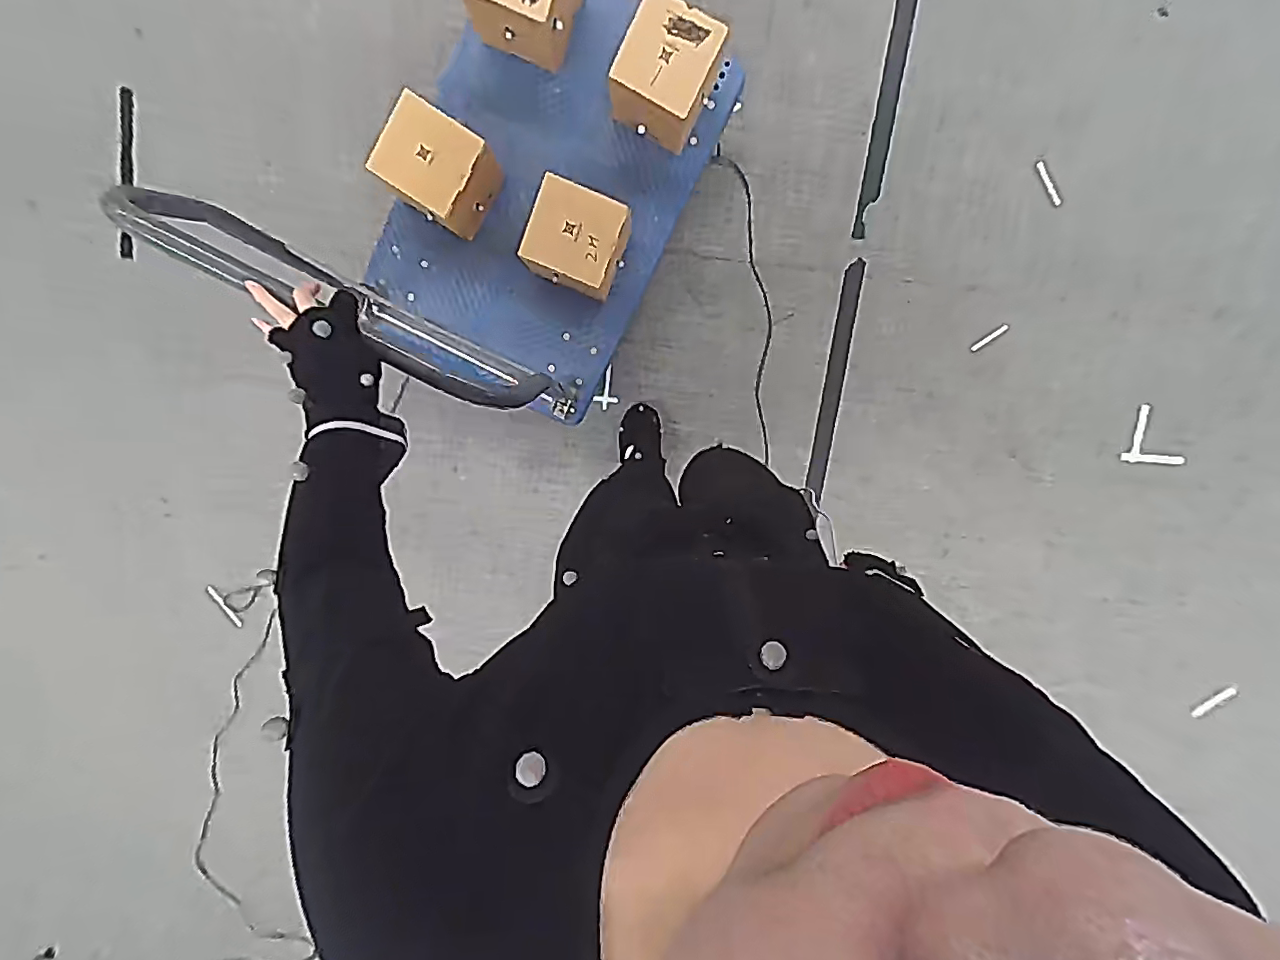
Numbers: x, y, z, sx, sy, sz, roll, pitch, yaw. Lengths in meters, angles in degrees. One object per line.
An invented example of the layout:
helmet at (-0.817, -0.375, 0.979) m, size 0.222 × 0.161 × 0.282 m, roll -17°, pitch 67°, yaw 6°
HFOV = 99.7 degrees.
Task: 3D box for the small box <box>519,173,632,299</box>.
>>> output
small box at (-0.127, -0.494, 1.126) m, size 0.179 × 0.176 × 0.168 m, roll 22°, pitch 99°, yaw -4°

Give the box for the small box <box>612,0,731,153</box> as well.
small box at (0.056, -0.801, 1.074) m, size 0.168 × 0.176 × 0.179 m, roll 28°, pitch 100°, yaw -4°

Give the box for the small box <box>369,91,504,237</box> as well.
small box at (-0.404, -0.627, 1.103) m, size 0.179 × 0.176 × 0.168 m, roll 31°, pitch 97°, yaw -7°
